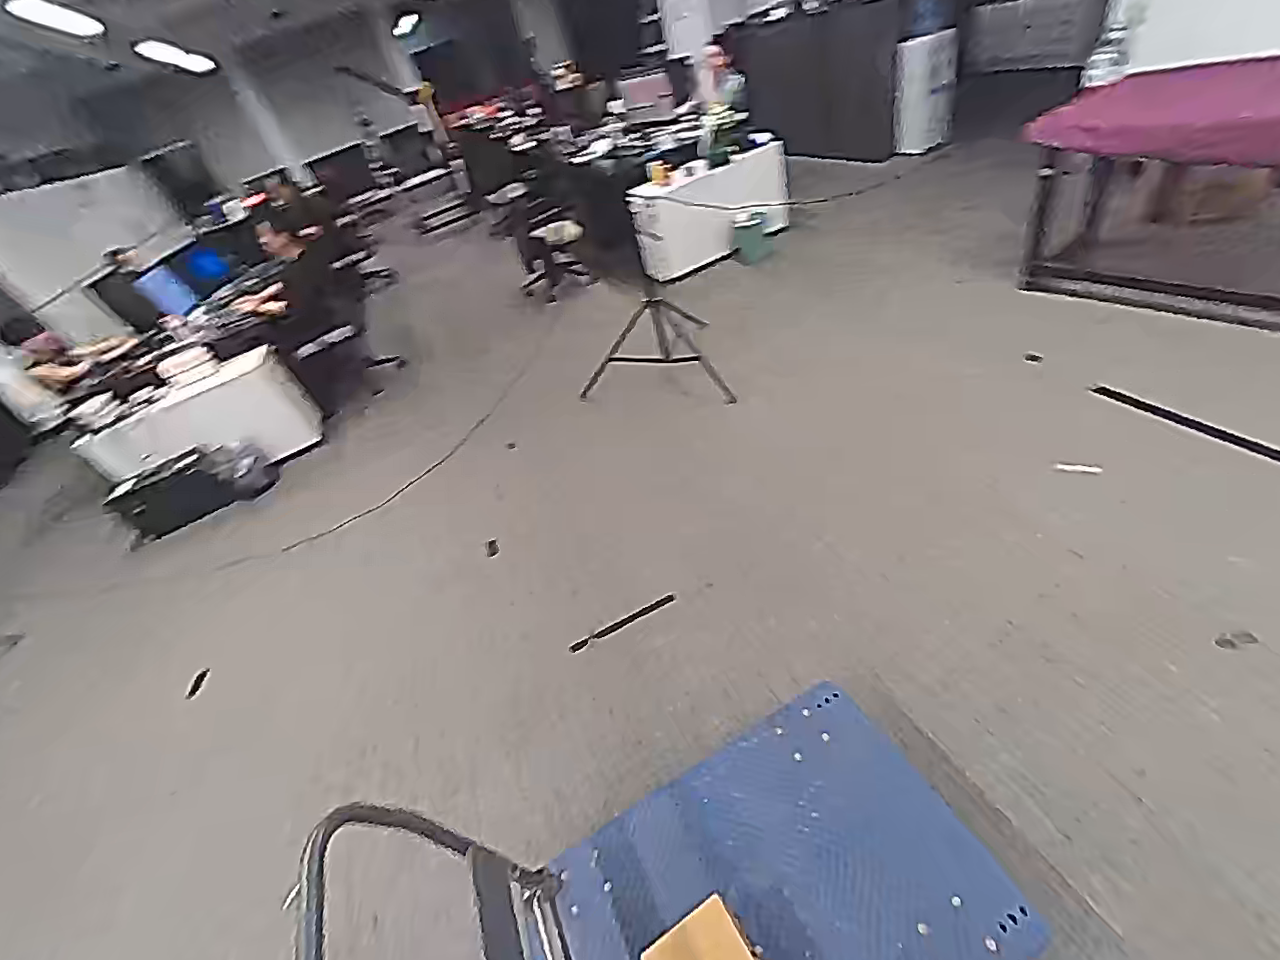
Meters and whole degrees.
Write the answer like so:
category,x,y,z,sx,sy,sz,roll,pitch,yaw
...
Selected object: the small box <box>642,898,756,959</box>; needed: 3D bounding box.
category,x,y,z,sx,sy,sz,roll,pitch,yaw
small box,0.129,0.879,0.927,0.168,0.176,0.179,-31,41,-13
